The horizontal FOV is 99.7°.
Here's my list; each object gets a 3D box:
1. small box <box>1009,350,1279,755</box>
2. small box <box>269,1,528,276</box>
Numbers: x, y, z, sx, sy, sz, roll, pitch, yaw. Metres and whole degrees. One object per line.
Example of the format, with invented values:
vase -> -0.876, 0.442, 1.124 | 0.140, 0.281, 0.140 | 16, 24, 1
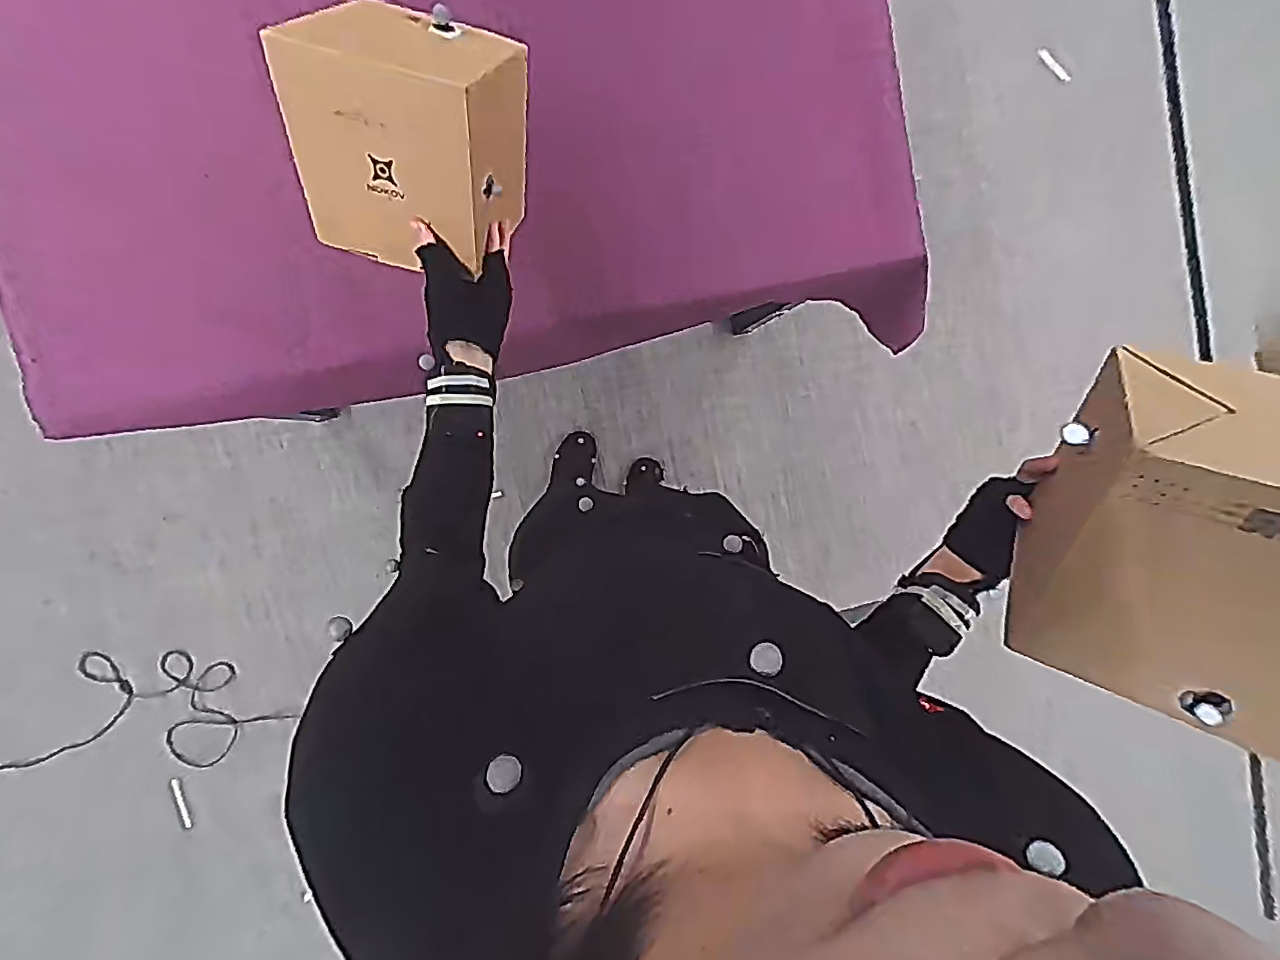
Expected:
small box -> 0.368, 0.030, 0.343 | 0.168, 0.179, 0.176 | 22, 131, 26
small box -> -0.214, -0.341, 0.543 | 0.168, 0.179, 0.176 | 12, 48, -1
